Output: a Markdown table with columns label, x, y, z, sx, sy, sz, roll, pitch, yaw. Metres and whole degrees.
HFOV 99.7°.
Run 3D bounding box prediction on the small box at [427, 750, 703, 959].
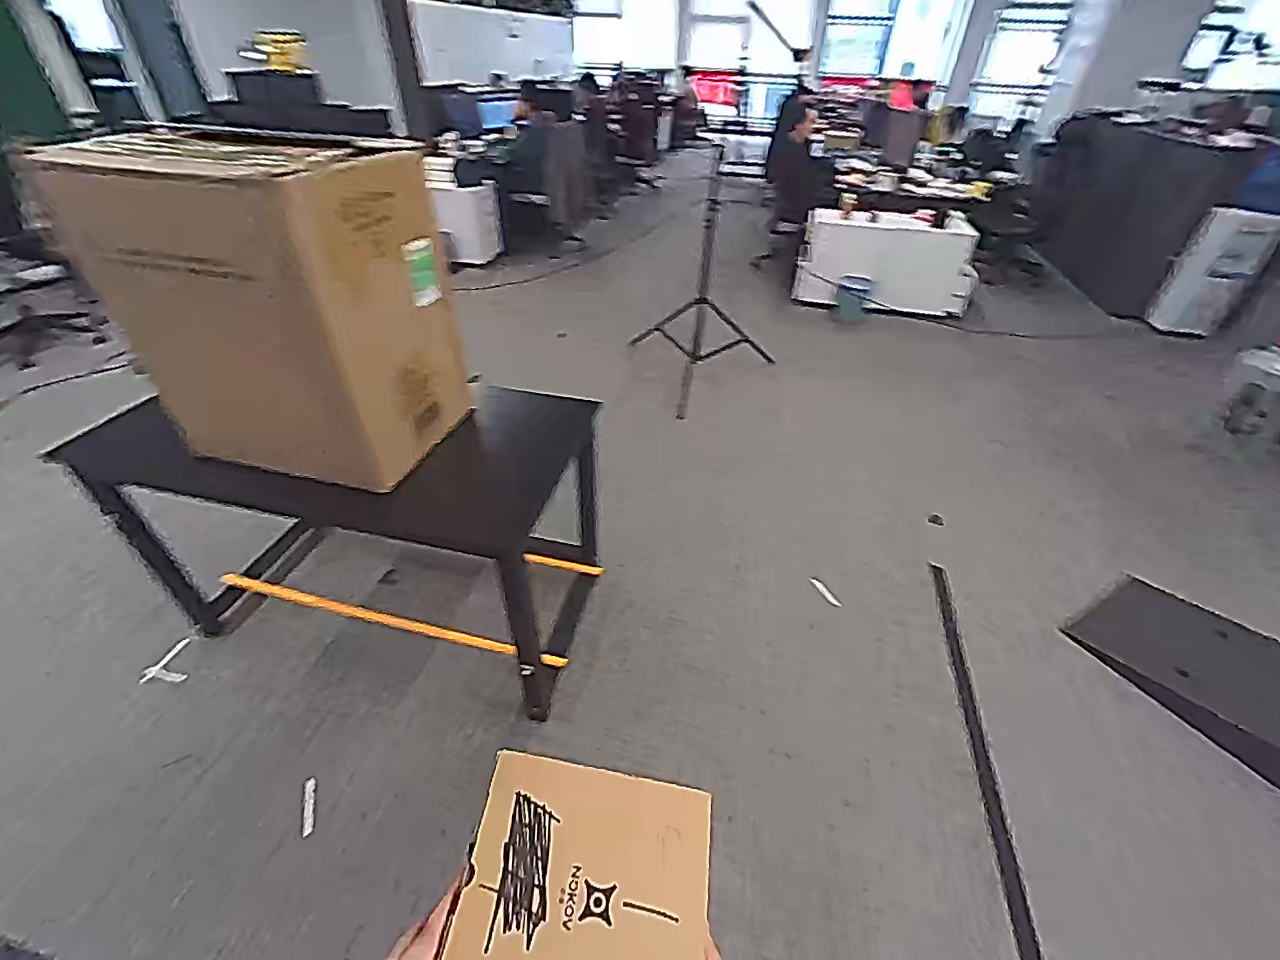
| label | x | y | z | sx | sy | sz | roll | pitch | yaw |
| --- | --- | --- | --- | --- | --- | --- | --- | --- | --- |
| small box | -0.057 | 0.341 | 0.429 | 0.179 | 0.176 | 0.168 | 12 | 45 | -4 |
